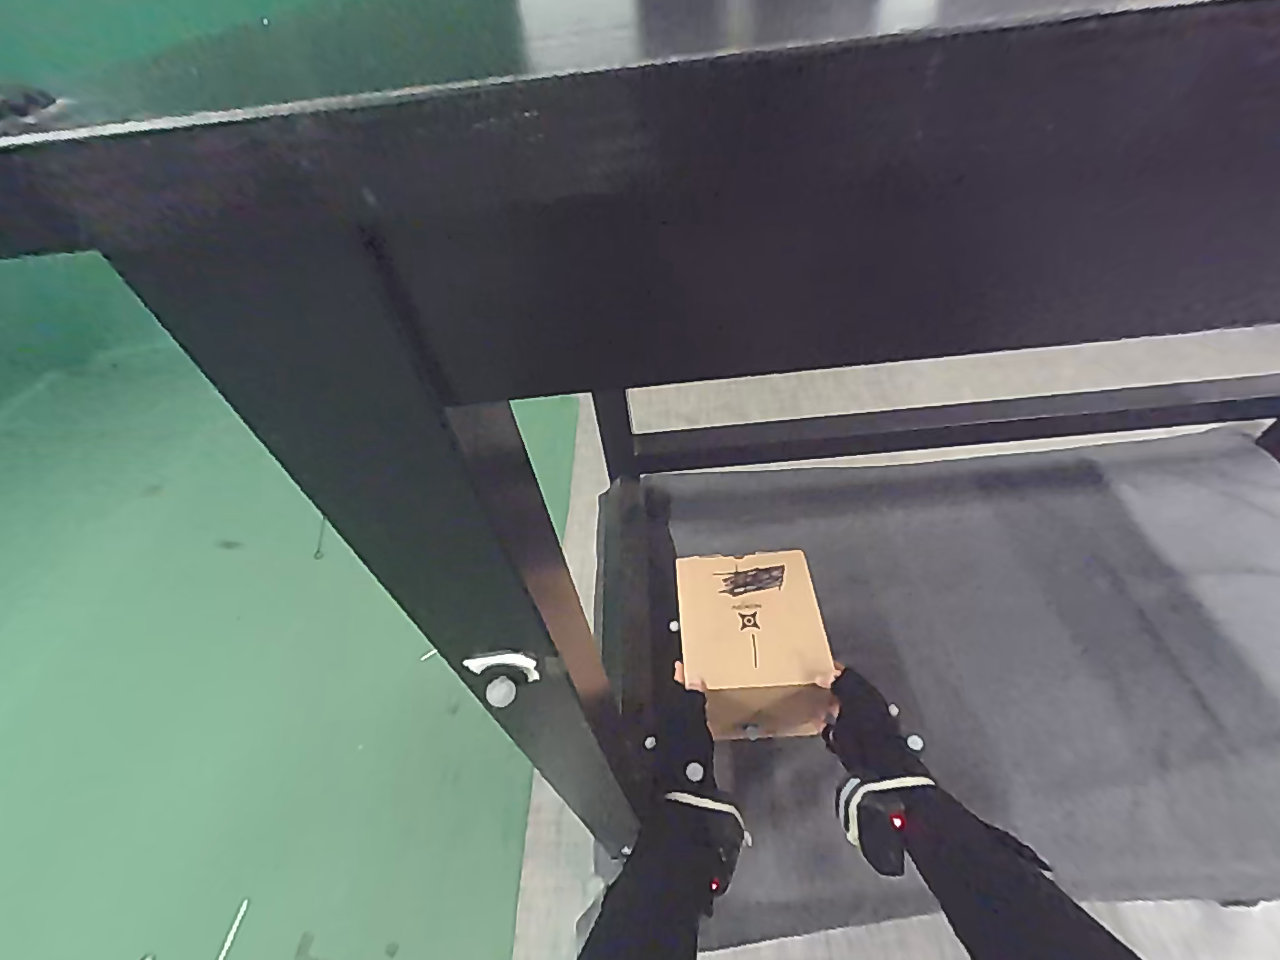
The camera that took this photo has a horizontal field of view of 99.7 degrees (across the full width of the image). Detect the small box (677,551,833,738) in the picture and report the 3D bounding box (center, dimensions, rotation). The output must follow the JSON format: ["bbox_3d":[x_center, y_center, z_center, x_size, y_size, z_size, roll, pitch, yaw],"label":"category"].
[{"bbox_3d":[0.135,0.215,0.705,0.168,0.176,0.179,-5,47,3],"label":"small box"}]
